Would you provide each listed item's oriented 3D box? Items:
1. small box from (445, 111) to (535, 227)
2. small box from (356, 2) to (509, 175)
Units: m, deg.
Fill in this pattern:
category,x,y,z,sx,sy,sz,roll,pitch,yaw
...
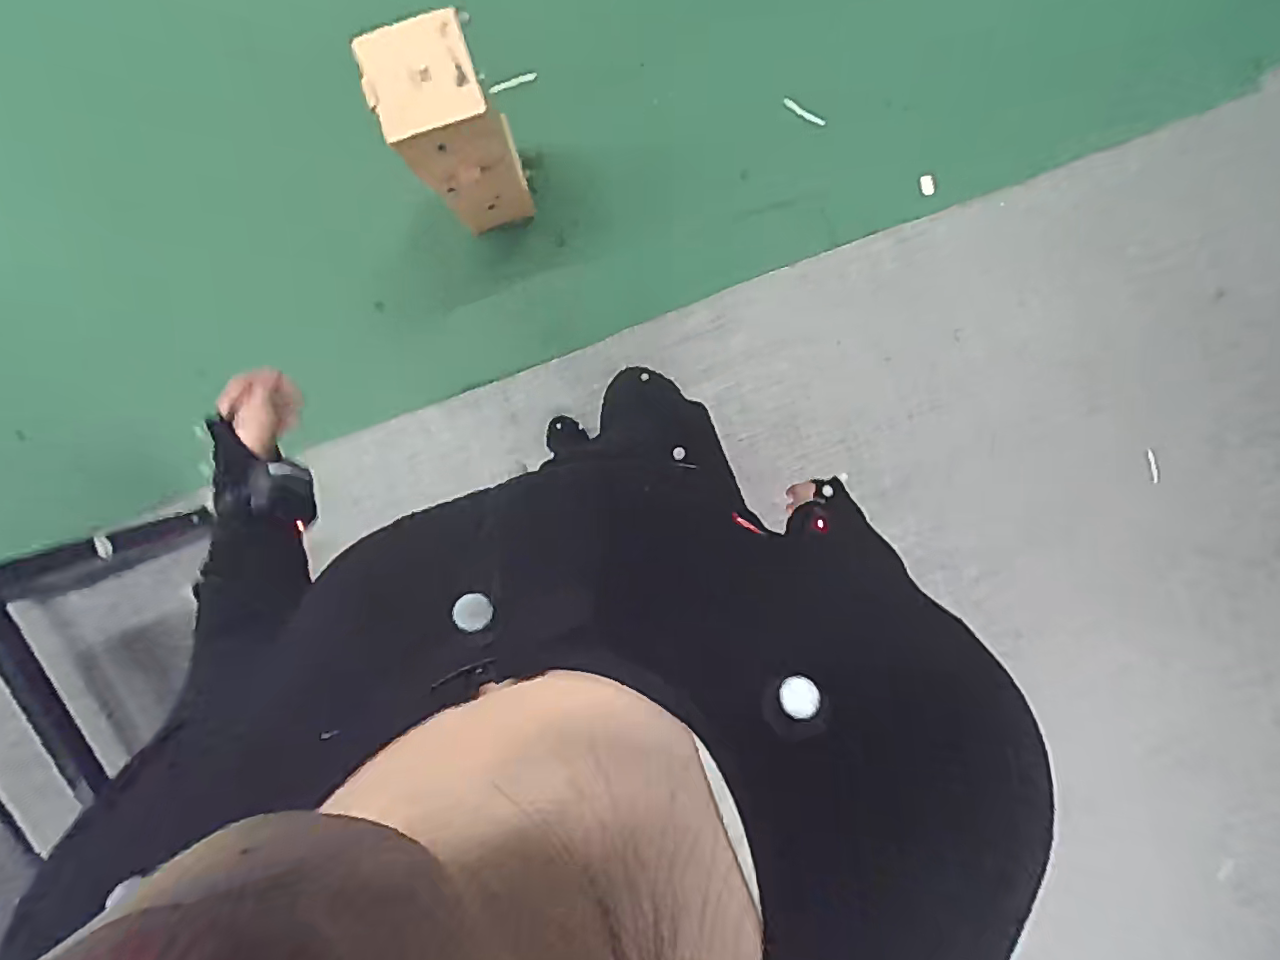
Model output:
category,x,y,z,sx,sy,sz,roll,pitch,yaw
small box,-0.356,-0.723,1.274,0.179,0.176,0.168,-16,100,0
small box,-0.352,-0.669,0.950,0.179,0.176,0.168,-17,99,1
